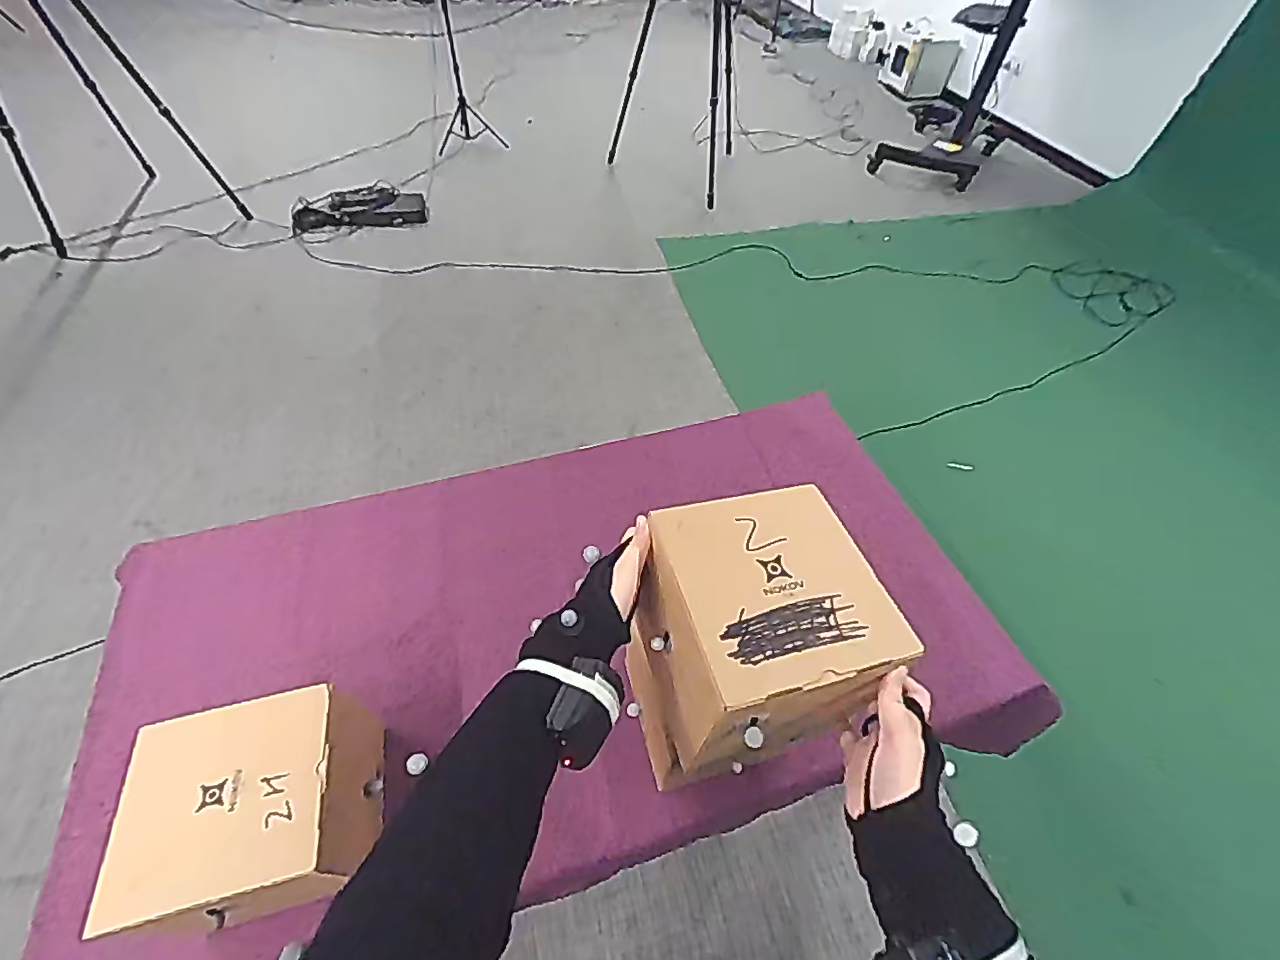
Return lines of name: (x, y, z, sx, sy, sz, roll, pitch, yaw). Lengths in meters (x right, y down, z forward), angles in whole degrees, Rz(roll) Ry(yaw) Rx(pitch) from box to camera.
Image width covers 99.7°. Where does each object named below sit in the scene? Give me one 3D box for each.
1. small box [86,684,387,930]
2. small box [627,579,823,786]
small box: (-0.383, 0.337, 0.557, 0.179, 0.176, 0.168, -10, 53, -11)
small box: (0.085, 0.245, 0.652, 0.179, 0.176, 0.168, -12, 52, -10)
